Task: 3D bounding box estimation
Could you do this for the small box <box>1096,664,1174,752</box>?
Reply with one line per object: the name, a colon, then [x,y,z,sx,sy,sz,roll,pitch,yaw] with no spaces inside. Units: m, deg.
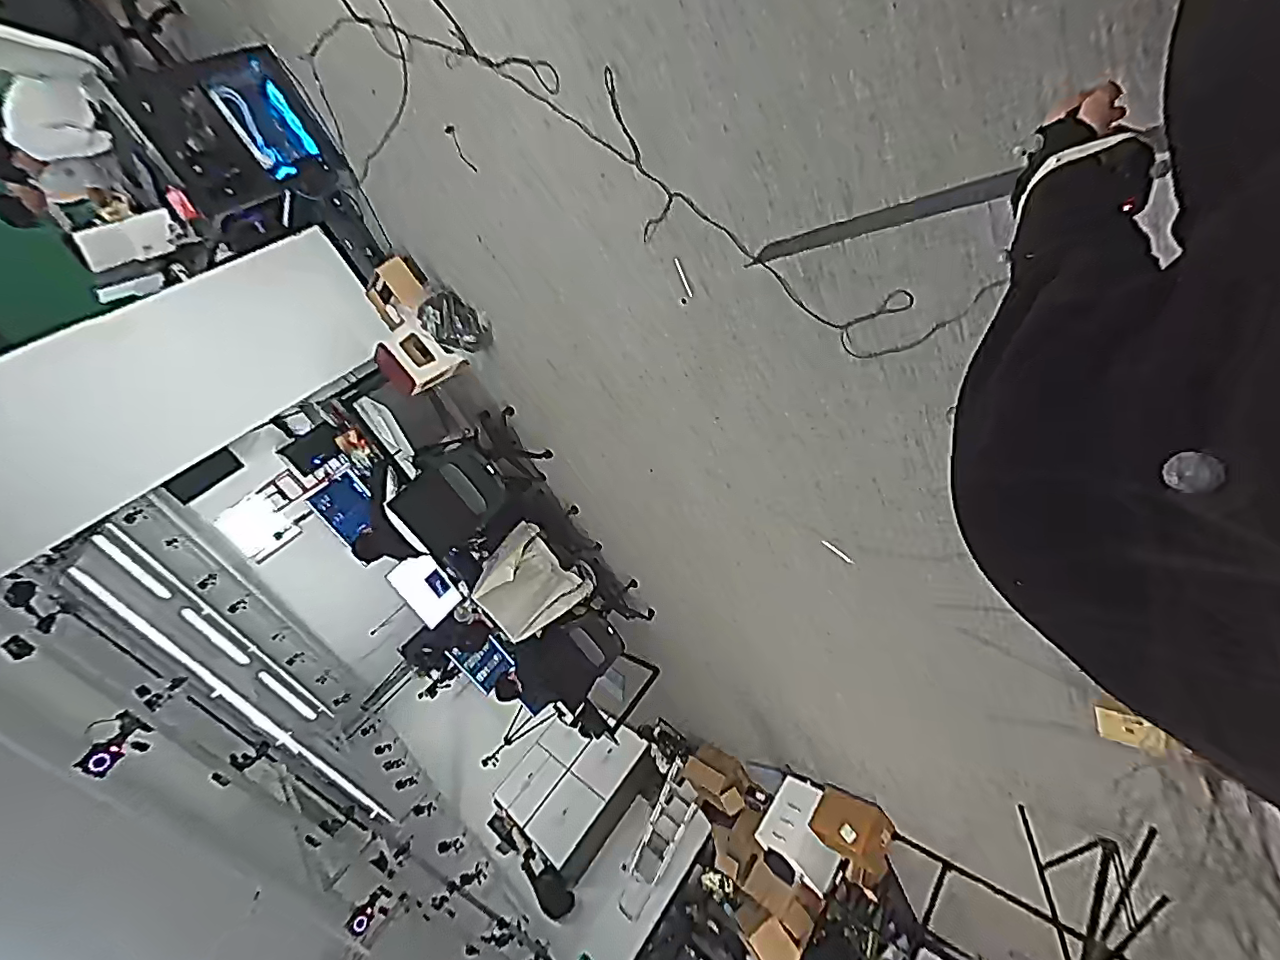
small box: [1.630,0.743,1.777,0.168,0.176,0.179,4,133,50]
